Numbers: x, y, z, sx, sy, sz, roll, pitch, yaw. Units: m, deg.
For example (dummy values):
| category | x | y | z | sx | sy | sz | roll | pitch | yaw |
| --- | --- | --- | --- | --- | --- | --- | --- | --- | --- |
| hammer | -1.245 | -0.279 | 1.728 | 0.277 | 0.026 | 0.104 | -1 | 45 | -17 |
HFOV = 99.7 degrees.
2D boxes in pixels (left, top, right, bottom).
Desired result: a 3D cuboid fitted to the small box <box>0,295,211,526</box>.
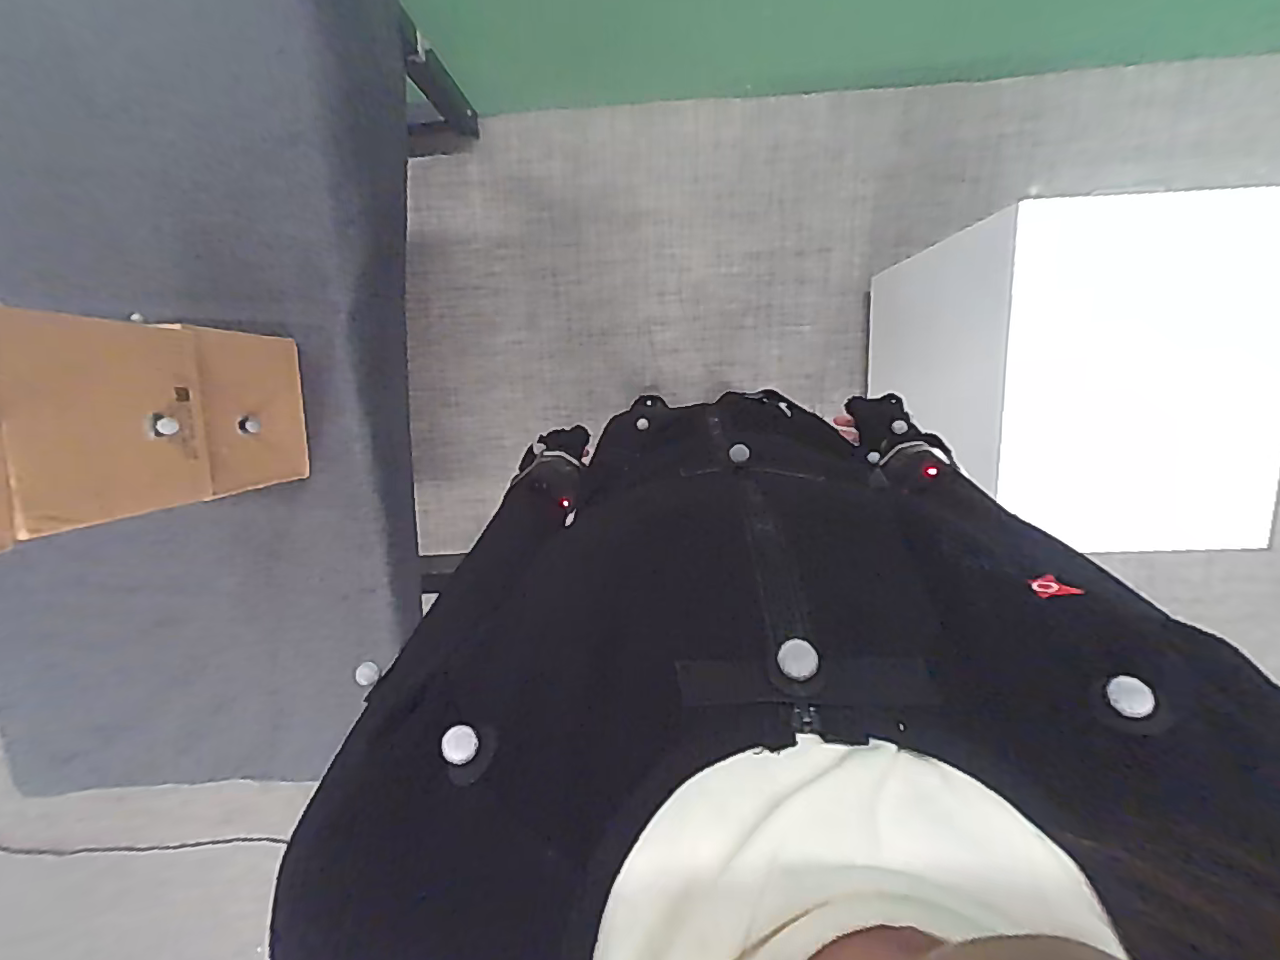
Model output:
| category | x | y | z | sx | sy | sz | roll | pitch | yaw |
| --- | --- | --- | --- | --- | --- | --- | --- | --- | --- |
| small box | -0.526 | -0.058 | 0.463 | 0.179 | 0.176 | 0.168 | -2 | 100 | 5 |

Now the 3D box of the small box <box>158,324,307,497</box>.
| category | x | y | z | sx | sy | sz | roll | pitch | yaw |
| --- | --- | --- | --- | --- | --- | --- | --- | --- | --- |
| small box | -0.519 | -0.085 | 0.625 | 0.168 | 0.176 | 0.179 | 0 | 101 | 3 |
